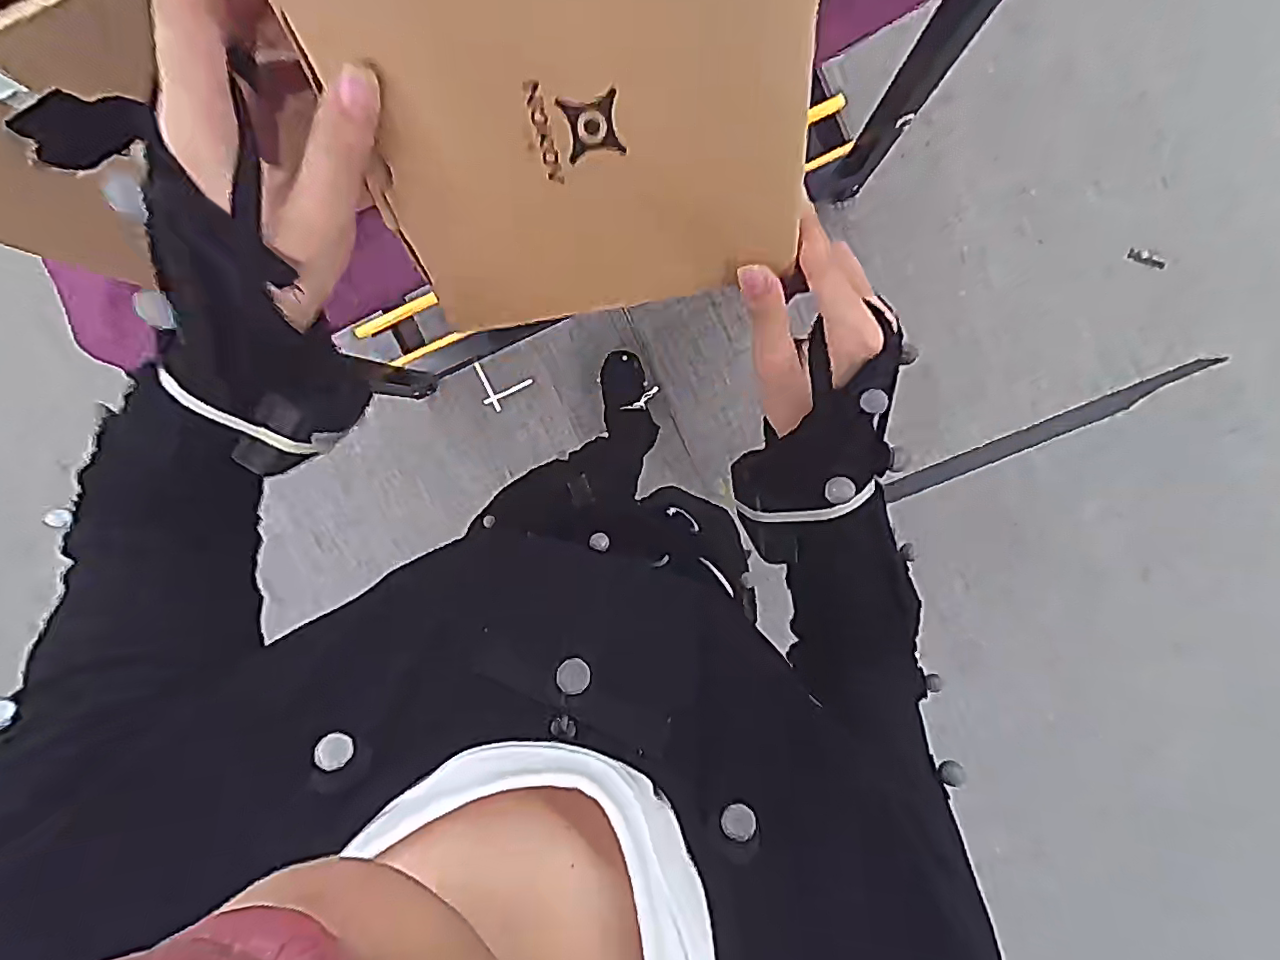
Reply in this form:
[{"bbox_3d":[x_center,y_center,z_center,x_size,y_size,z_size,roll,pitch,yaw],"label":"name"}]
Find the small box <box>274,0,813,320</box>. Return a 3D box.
[{"bbox_3d":[-0.030,-0.205,0.248,0.179,0.168,0.176,-8,54,5],"label":"small box"}]
